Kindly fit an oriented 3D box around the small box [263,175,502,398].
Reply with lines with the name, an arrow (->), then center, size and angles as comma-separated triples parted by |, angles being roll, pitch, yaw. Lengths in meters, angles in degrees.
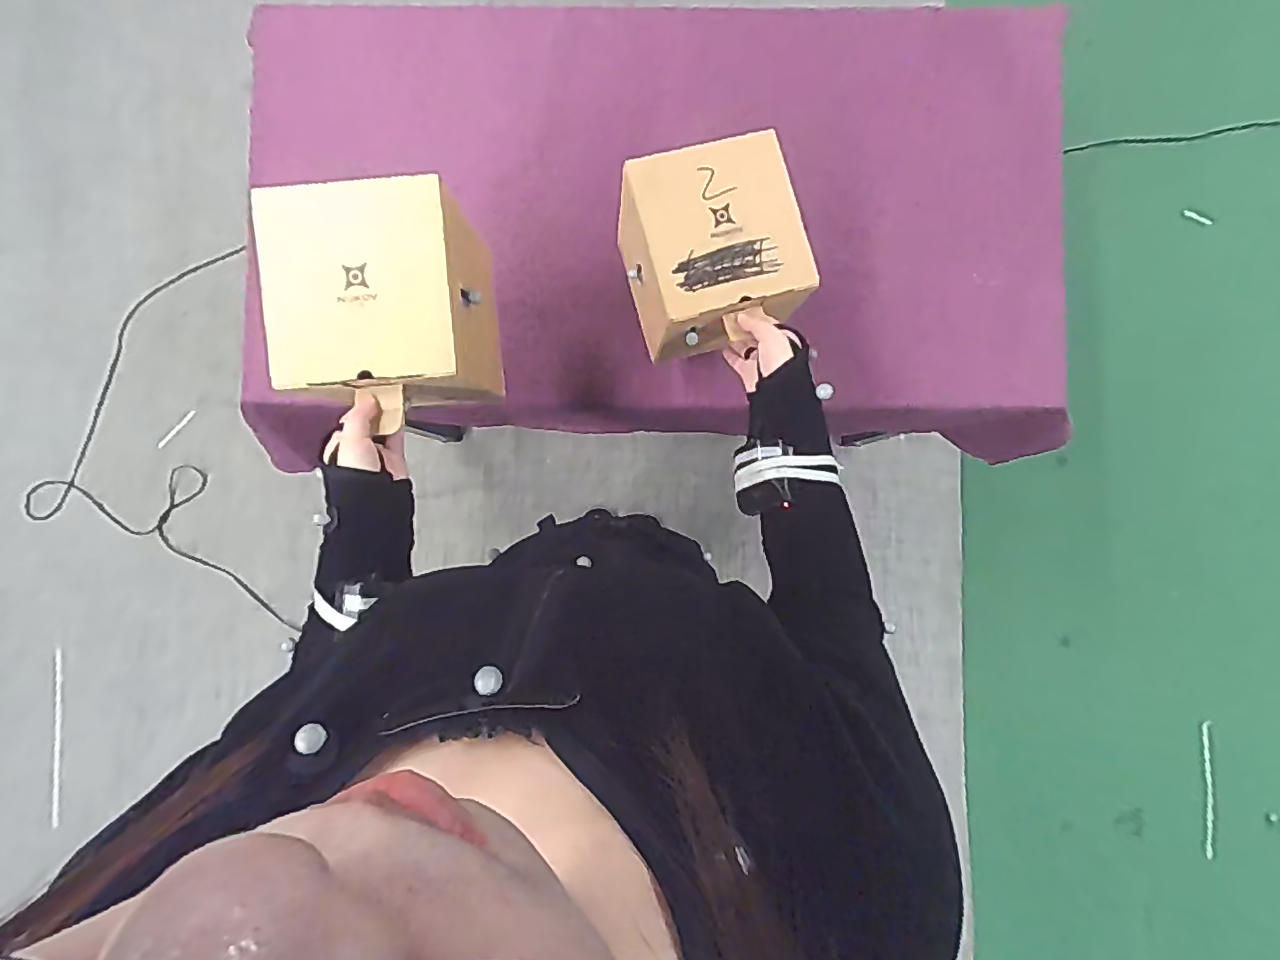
small box -> -0.250, -0.186, 0.565 | 0.168, 0.176, 0.179 | -4, 94, 0
